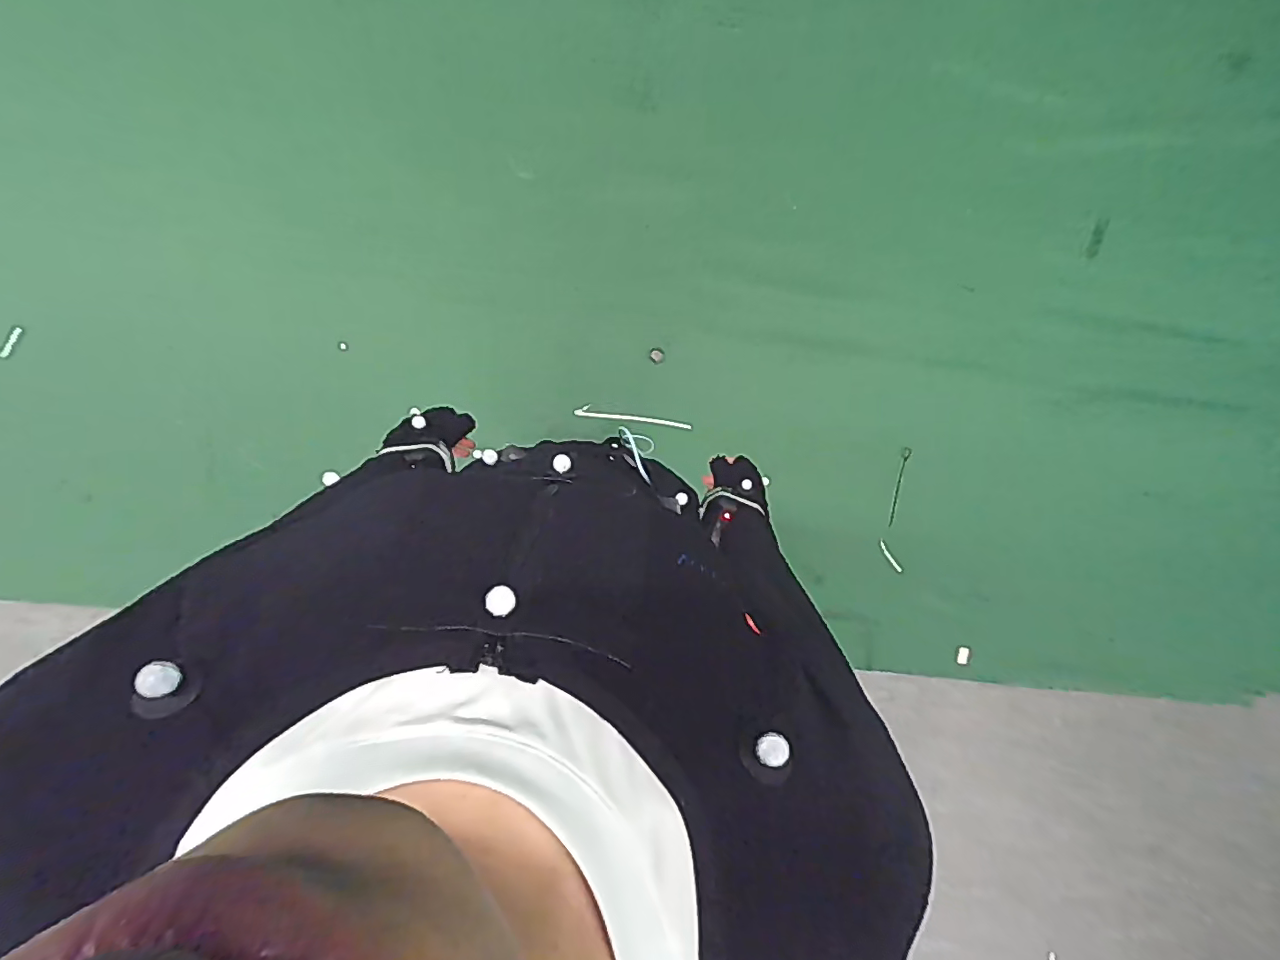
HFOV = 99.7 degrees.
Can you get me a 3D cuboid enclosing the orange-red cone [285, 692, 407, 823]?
[{"bbox_3d":[-0.748,0.708,1.335,0.198,0.360,0.199,6,95,-2],"label":"orange-red cone"}]
